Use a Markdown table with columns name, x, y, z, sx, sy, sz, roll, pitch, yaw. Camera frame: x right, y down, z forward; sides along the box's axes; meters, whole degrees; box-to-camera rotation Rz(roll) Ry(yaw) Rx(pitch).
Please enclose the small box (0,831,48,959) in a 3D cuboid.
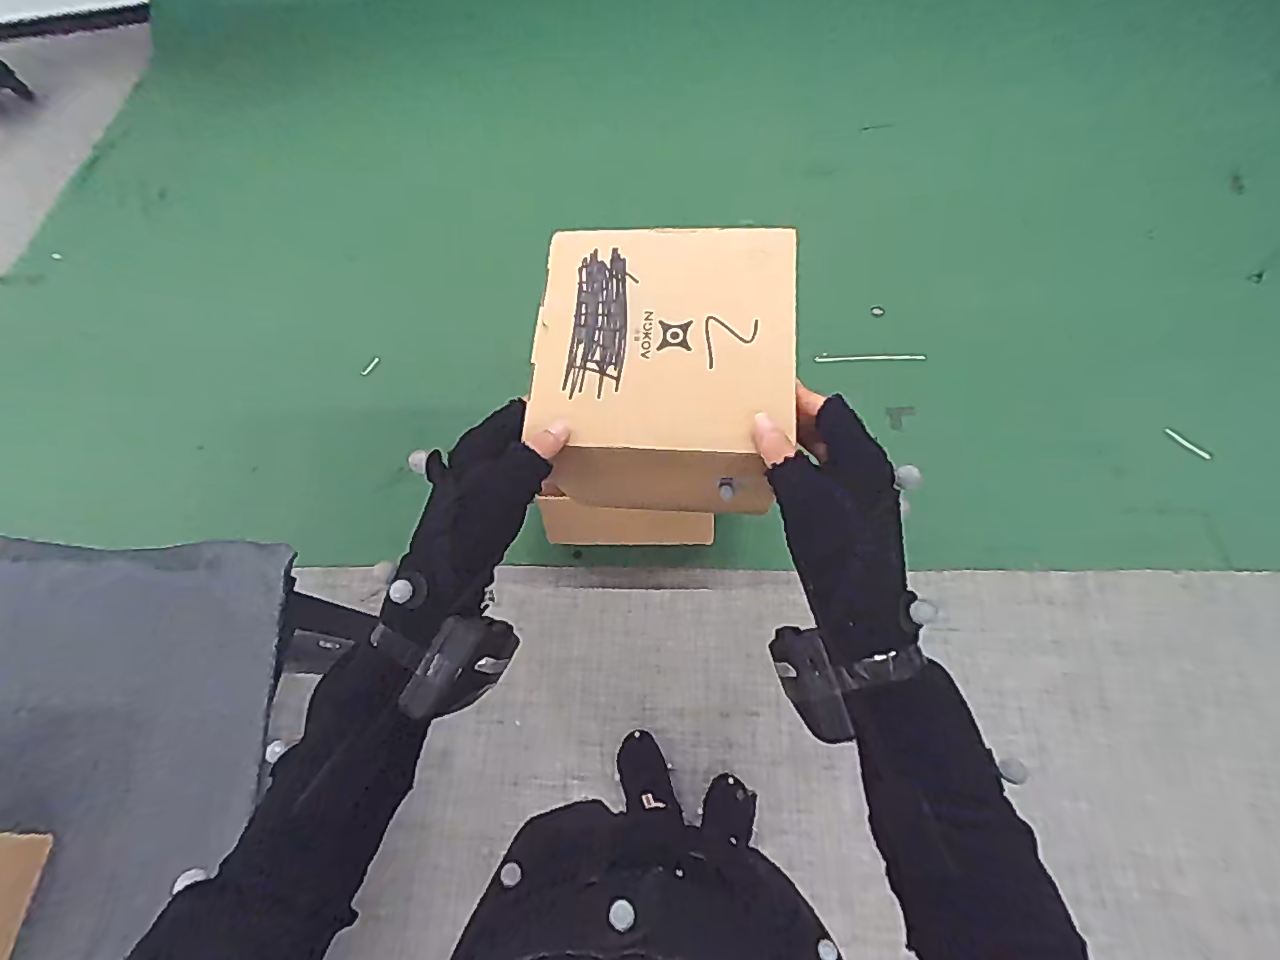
| name | x | y | z | sx | sy | sz | roll | pitch | yaw |
| --- | --- | --- | --- | --- | --- | --- | --- | --- | --- |
| small box | -0.783 | 0.472 | 0.545 | 0.168 | 0.176 | 0.179 | -1 | 65 | 6 |
